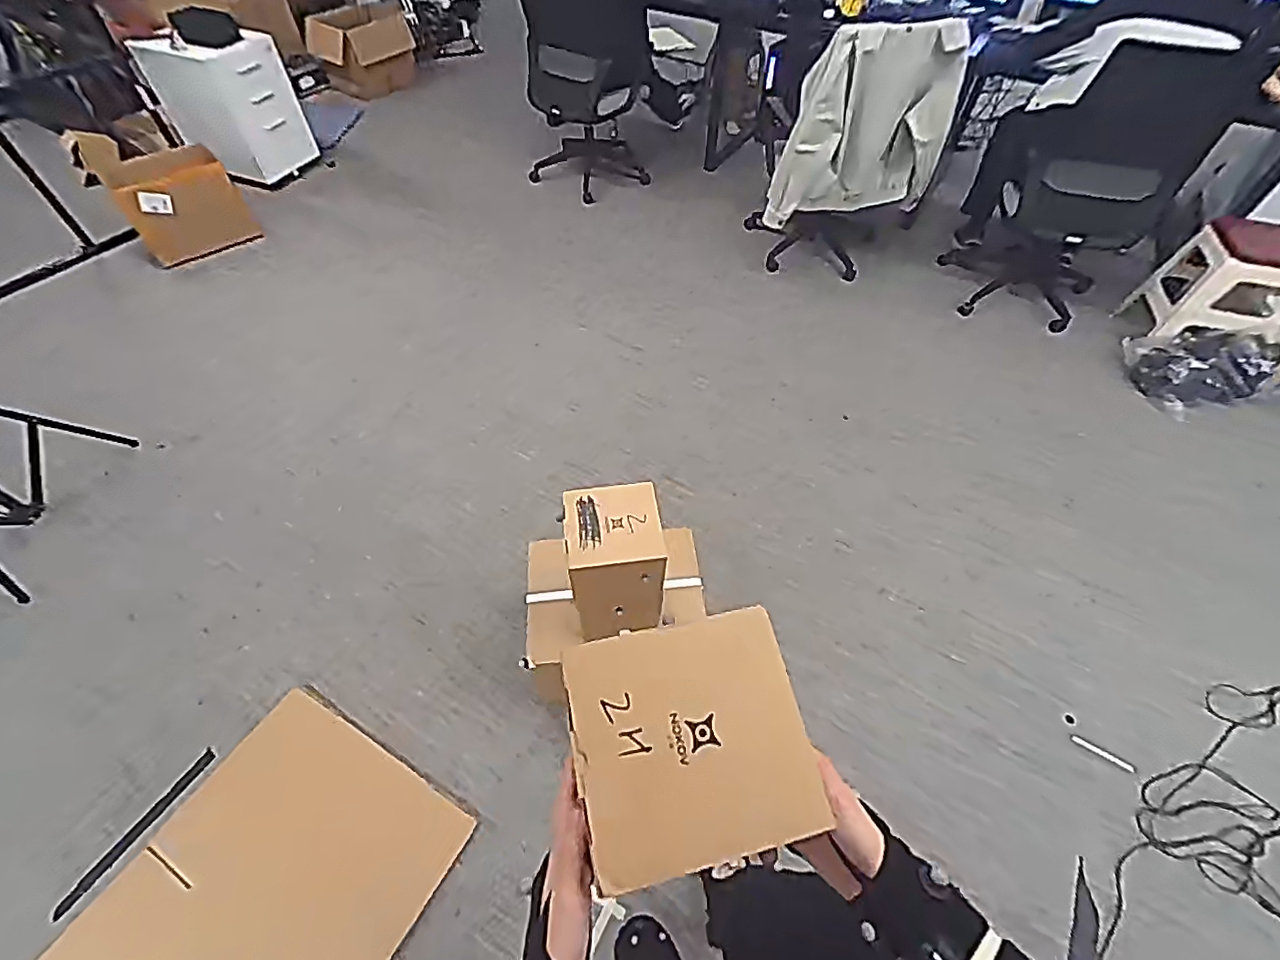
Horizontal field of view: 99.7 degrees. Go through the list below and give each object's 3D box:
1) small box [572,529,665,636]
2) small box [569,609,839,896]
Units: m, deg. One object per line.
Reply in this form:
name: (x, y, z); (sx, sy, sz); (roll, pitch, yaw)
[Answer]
small box: (-0.048, 0.226, 1.174); (0.179, 0.176, 0.168); (-6, 55, -7)
small box: (0.036, 0.226, 0.475); (0.179, 0.176, 0.168); (-9, 64, -10)
